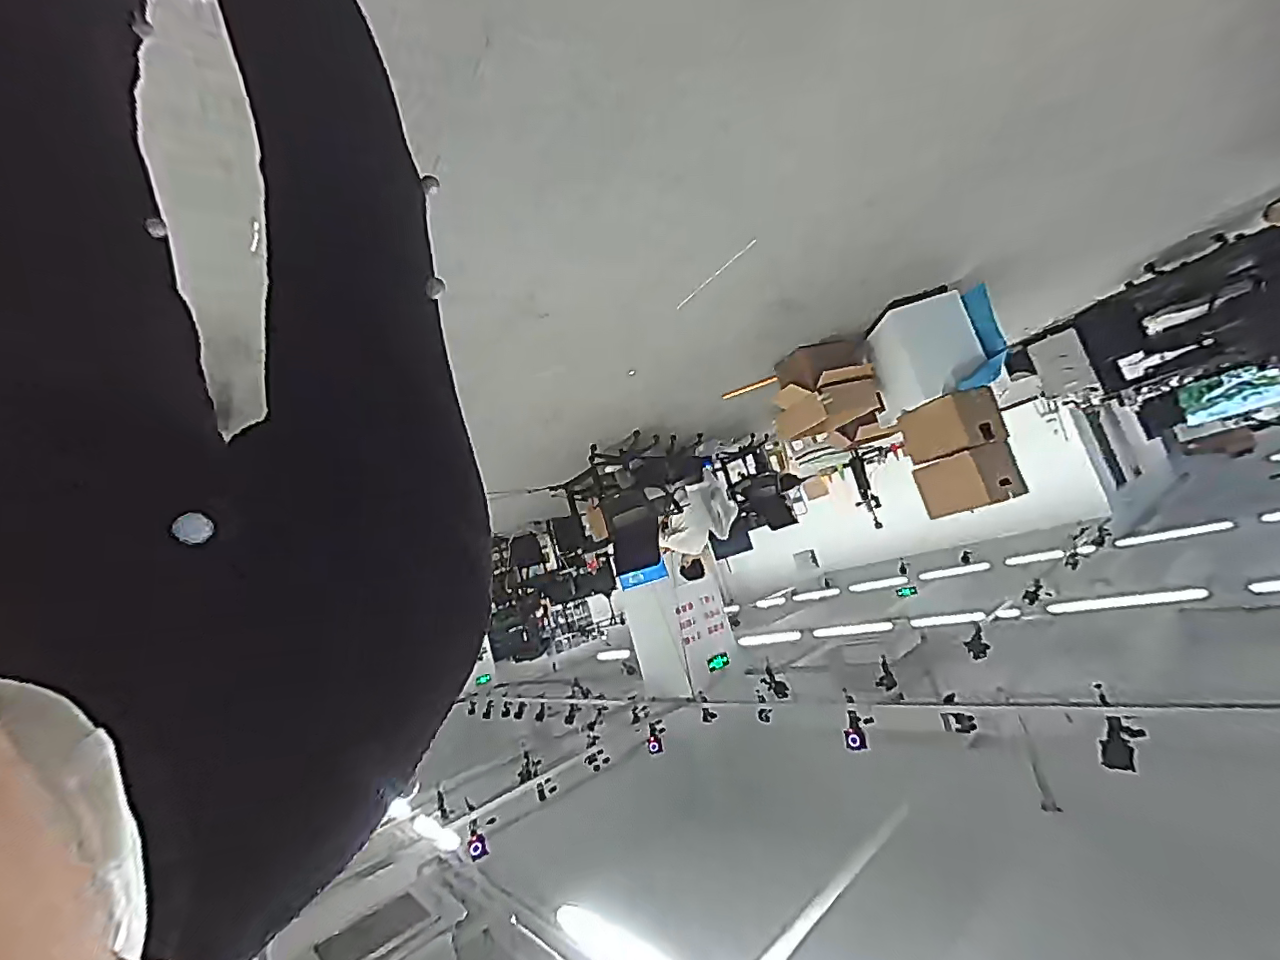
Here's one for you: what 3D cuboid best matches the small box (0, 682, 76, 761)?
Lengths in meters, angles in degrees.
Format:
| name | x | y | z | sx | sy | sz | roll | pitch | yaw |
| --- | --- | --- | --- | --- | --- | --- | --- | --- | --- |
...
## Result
| name | x | y | z | sx | sy | sz | roll | pitch | yaw |
| --- | --- | --- | --- | --- | --- | --- | --- | --- | --- |
| small box | -1.716 | 0.669 | 1.499 | 0.179 | 0.176 | 0.168 | -9 | 168 | -39 |
